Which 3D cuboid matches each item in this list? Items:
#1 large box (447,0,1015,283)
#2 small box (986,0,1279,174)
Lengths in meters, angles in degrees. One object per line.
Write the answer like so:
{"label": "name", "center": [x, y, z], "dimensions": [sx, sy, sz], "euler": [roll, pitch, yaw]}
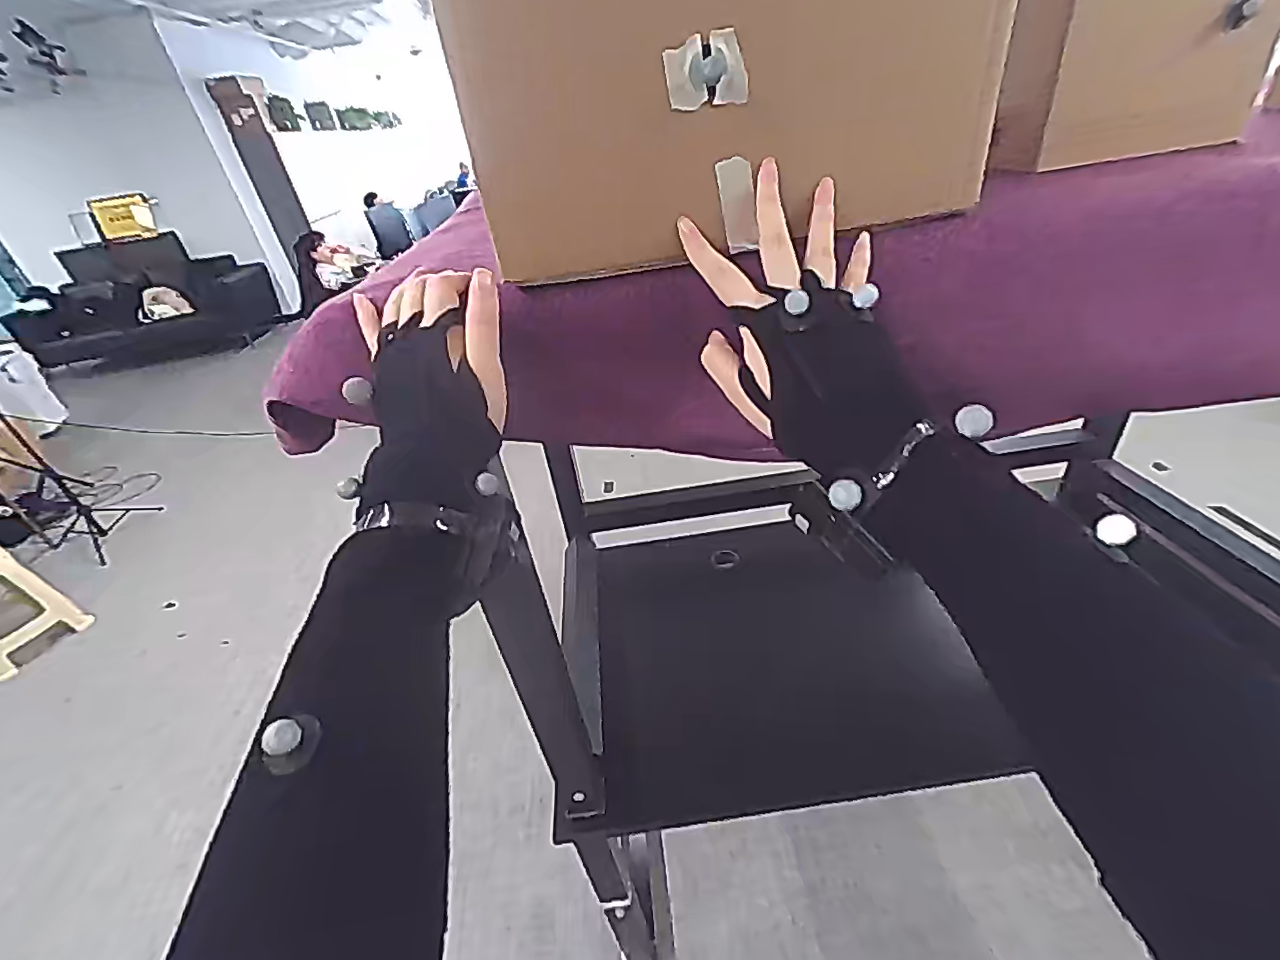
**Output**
{"label": "large box", "center": [0.023, -0.372, 0.424], "dimensions": [0.320, 0.320, 0.408], "euler": [-10, 33, -2]}
{"label": "small box", "center": [0.390, -0.377, 0.466], "dimensions": [0.179, 0.176, 0.168], "euler": [-9, 33, 0]}
